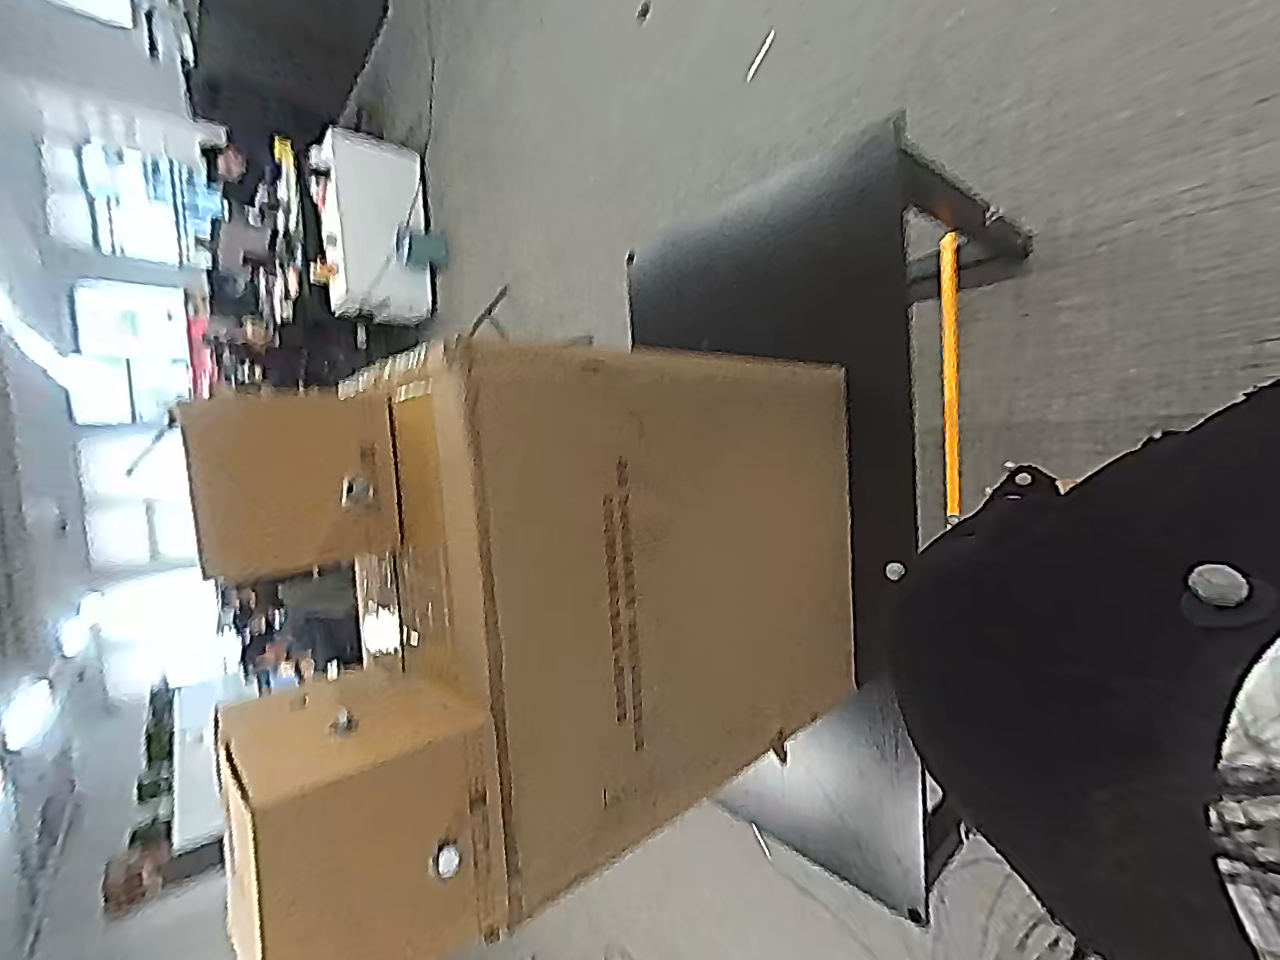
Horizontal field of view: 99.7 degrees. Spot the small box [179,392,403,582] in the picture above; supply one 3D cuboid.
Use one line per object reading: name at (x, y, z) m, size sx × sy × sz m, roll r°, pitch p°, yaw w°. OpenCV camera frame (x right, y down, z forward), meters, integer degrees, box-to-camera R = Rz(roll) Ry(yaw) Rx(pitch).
small box at (-0.366, -0.004, 0.573) m, size 0.179 × 0.176 × 0.168 m, roll 4°, pitch 100°, yaw 50°
